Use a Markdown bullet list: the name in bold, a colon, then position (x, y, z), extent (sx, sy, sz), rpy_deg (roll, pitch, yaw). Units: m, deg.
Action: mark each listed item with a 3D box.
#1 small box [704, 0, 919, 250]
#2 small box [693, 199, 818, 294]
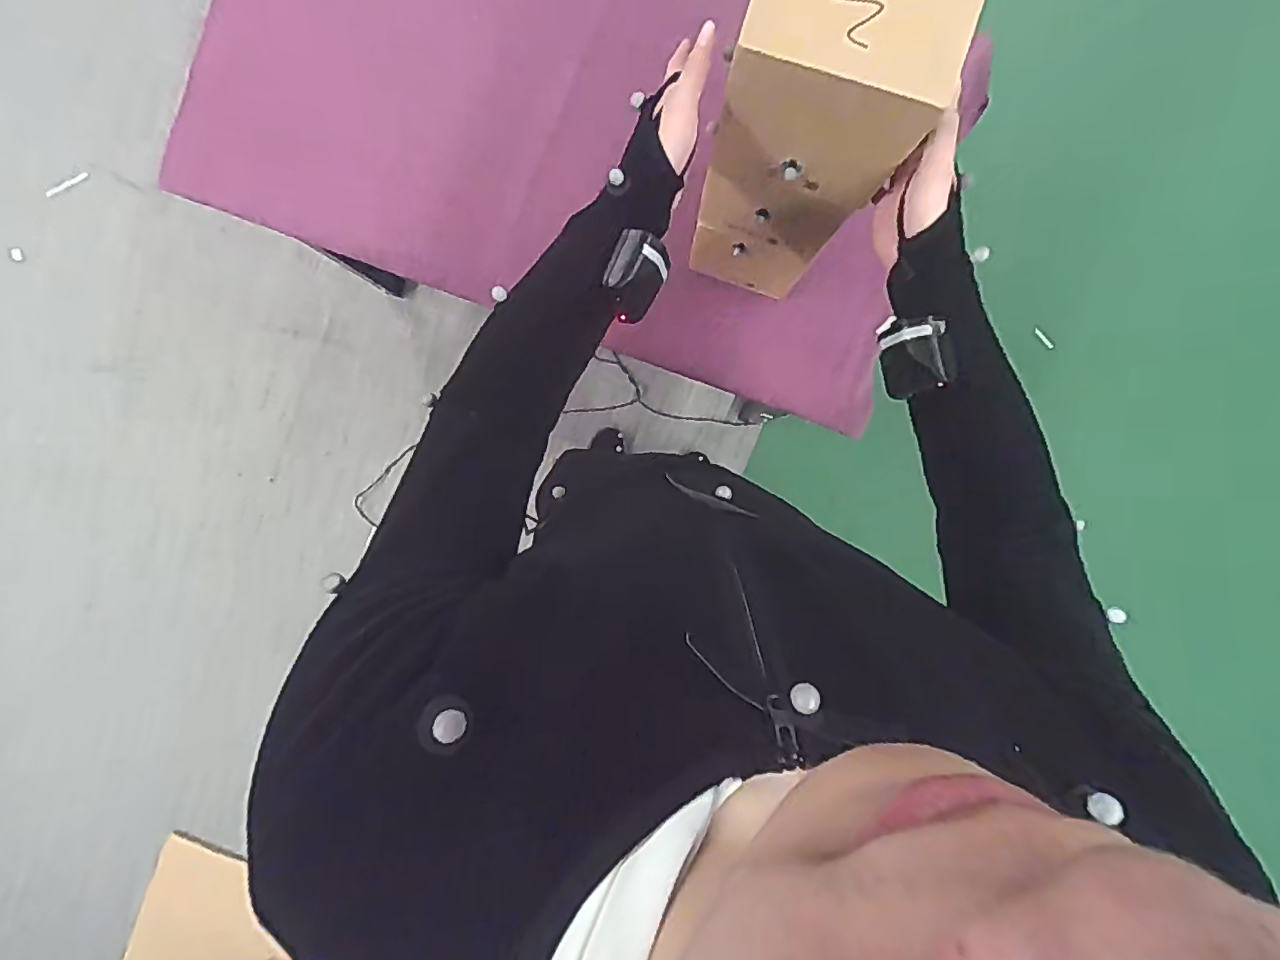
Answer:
- **small box**: position (0.181, -0.400, 0.632), extent (0.168, 0.176, 0.179), rpy_deg (20, 93, 0)
- **small box**: position (0.183, -0.404, 0.798), extent (0.168, 0.176, 0.179), rpy_deg (19, 92, 1)
